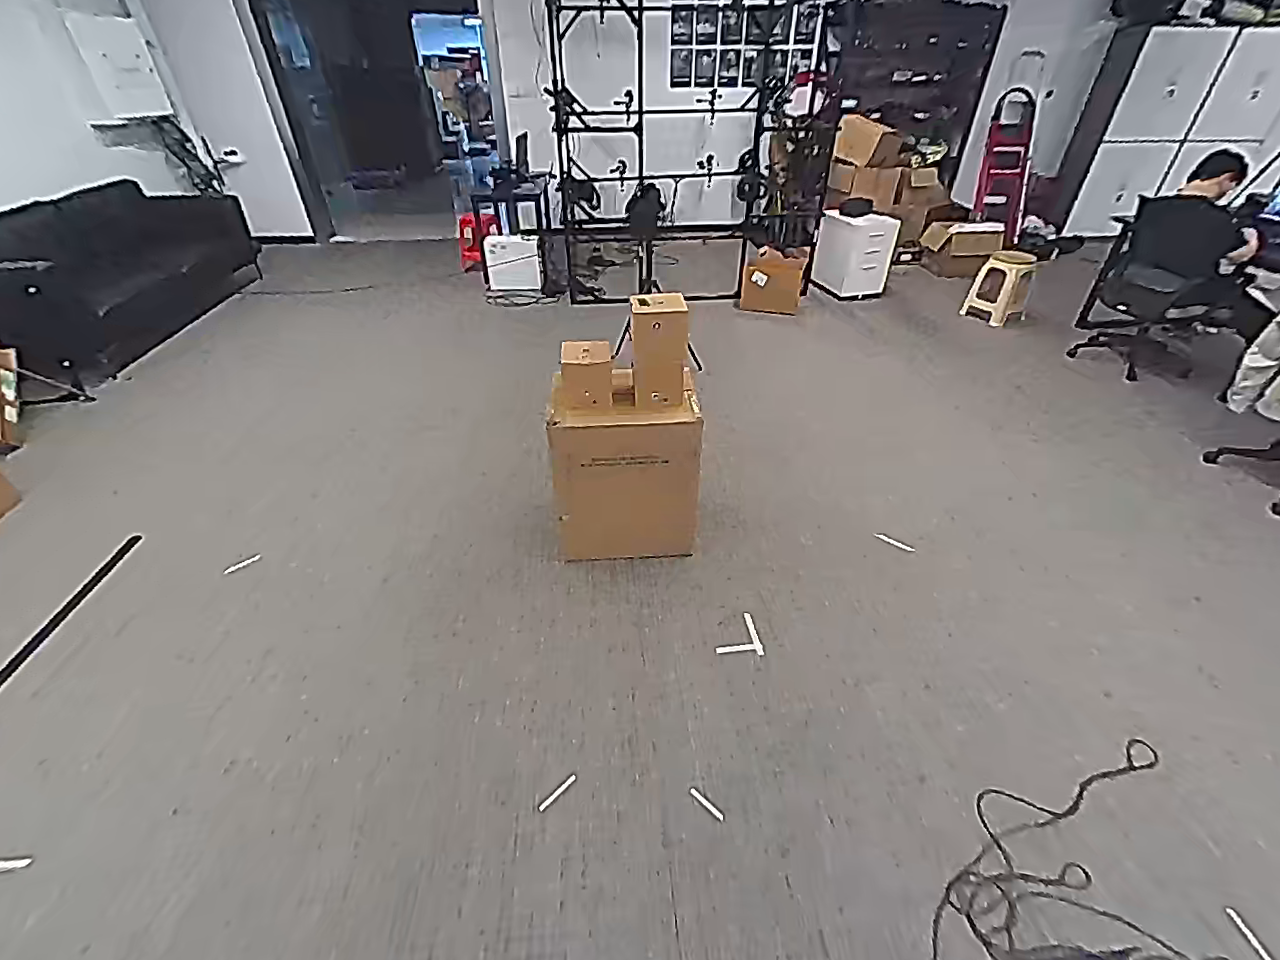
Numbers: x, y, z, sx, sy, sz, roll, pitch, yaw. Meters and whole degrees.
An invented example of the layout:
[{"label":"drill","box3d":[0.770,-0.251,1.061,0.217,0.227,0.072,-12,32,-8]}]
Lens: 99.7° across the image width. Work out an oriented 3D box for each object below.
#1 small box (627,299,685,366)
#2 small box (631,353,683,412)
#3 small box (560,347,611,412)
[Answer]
[{"label":"small box","box3d":[0.054,-0.484,1.784,0.179,0.176,0.168,-4,37,-2]},{"label":"small box","box3d":[0.056,-0.353,1.884,0.168,0.176,0.179,-5,38,-2]},{"label":"small box","box3d":[-0.188,-0.350,1.880,0.168,0.176,0.179,-3,37,-5]}]
